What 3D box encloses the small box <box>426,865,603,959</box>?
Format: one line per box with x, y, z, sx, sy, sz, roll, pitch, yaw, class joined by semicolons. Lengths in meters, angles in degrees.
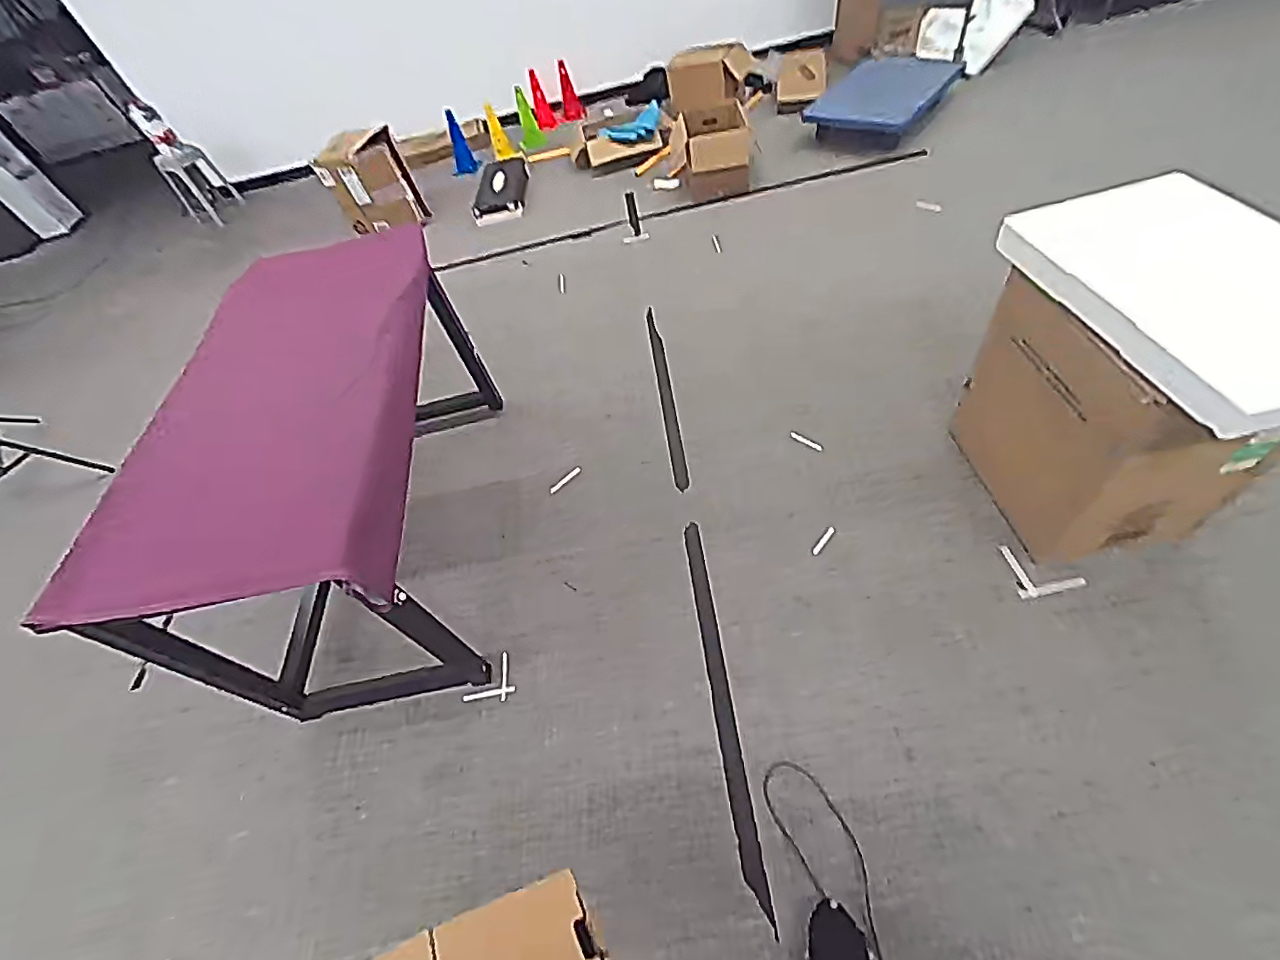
-0.144;0.608;0.627;0.179;0.176;0.168;-3;29;-30;small box
